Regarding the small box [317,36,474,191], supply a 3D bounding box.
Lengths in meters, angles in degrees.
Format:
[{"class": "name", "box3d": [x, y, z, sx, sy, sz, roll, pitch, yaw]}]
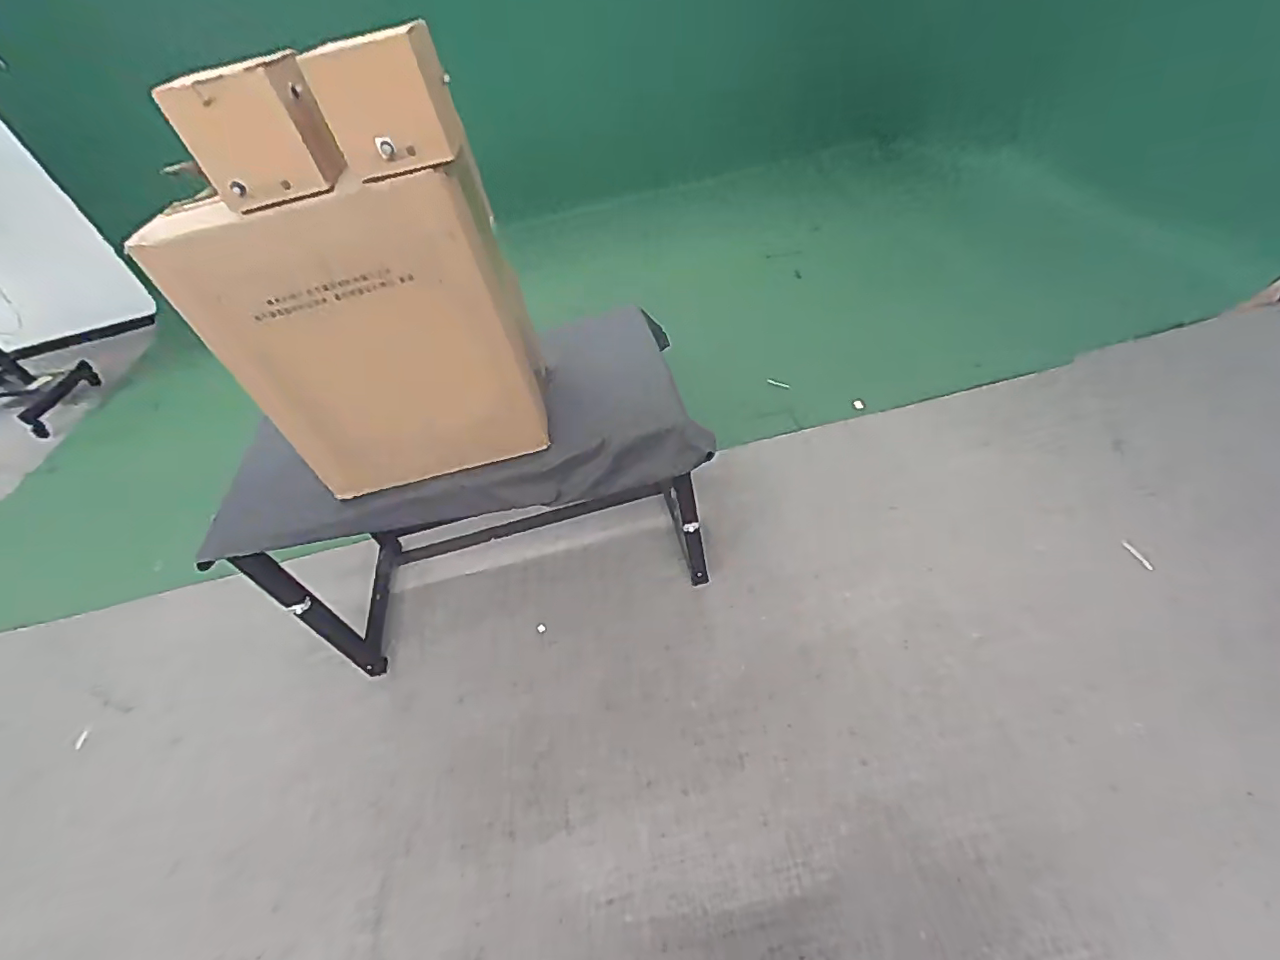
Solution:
[{"class": "small box", "box3d": [-0.387, -0.605, 0.895, 0.168, 0.176, 0.179, -13, 45, 2]}]
